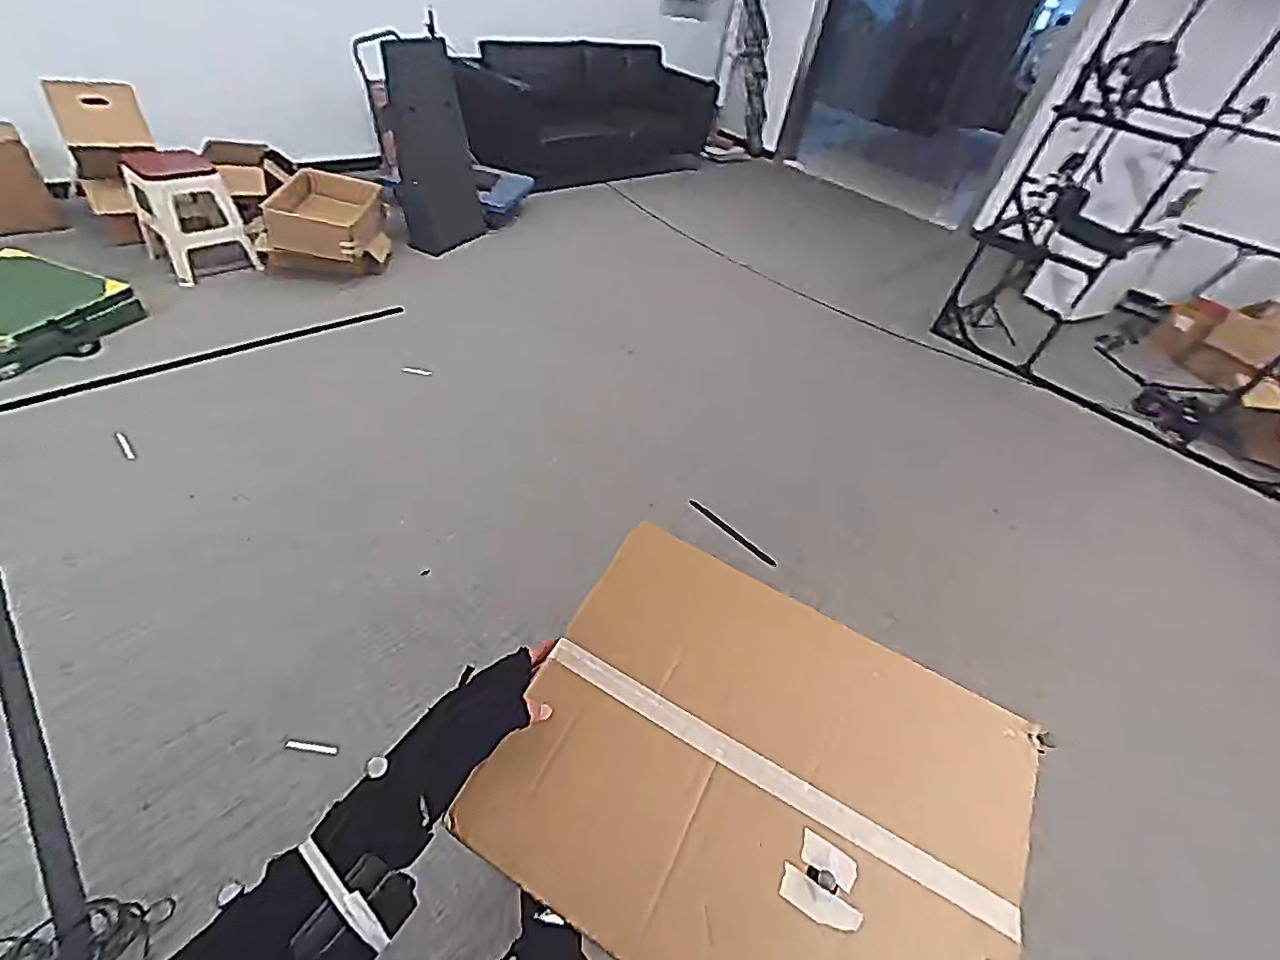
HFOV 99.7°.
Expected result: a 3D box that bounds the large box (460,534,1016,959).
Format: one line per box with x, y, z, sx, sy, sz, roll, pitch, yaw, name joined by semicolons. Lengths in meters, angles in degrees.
0.088;0.330;0.581;0.408;0.320;0.320;27;58;13;large box
